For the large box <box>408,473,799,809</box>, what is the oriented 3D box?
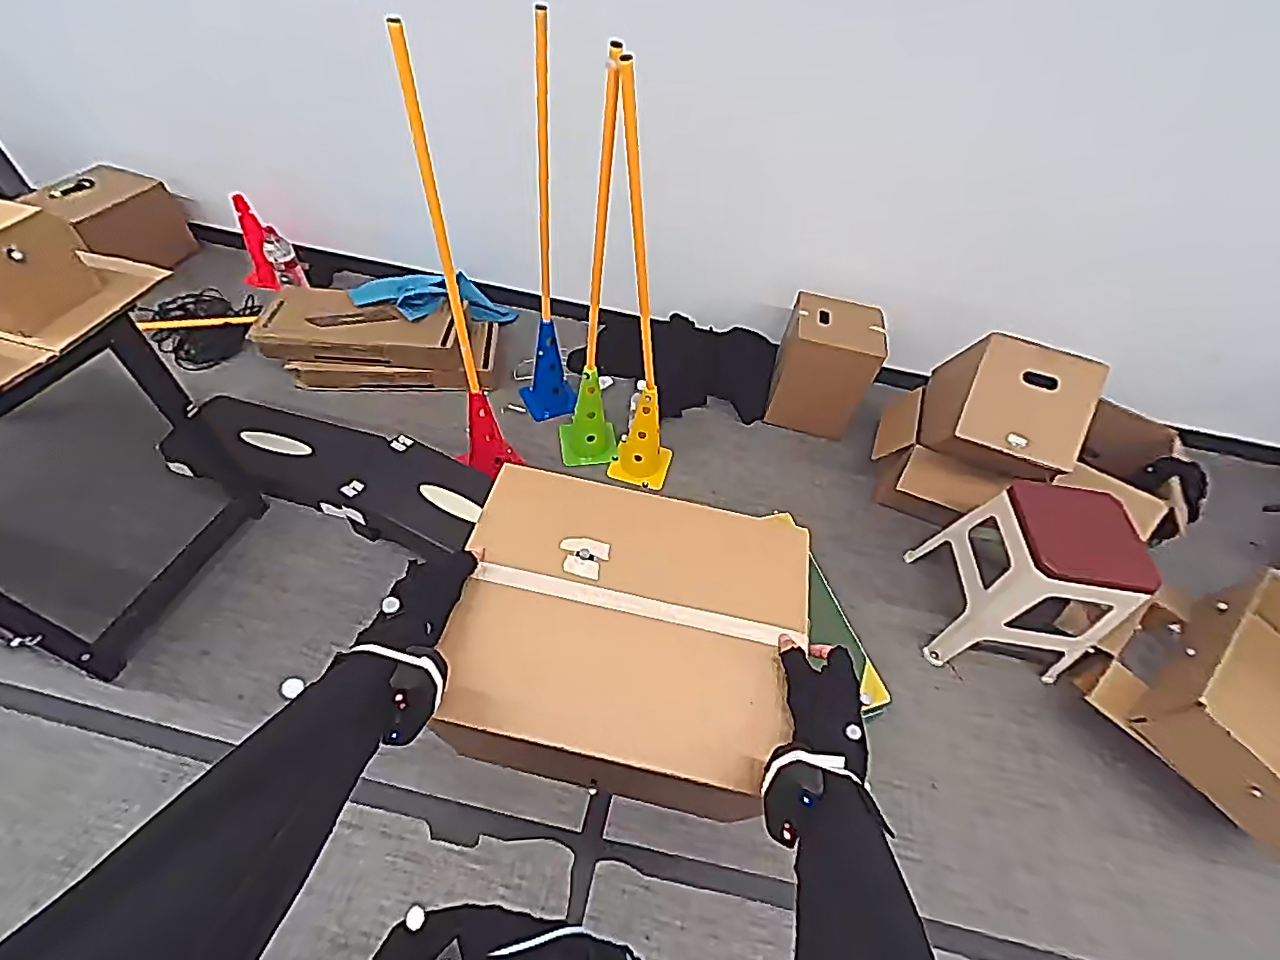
[{"bbox_3d":[-0.024,0.233,0.744,0.408,0.320,0.320,12,54,3],"label":"large box"}]
